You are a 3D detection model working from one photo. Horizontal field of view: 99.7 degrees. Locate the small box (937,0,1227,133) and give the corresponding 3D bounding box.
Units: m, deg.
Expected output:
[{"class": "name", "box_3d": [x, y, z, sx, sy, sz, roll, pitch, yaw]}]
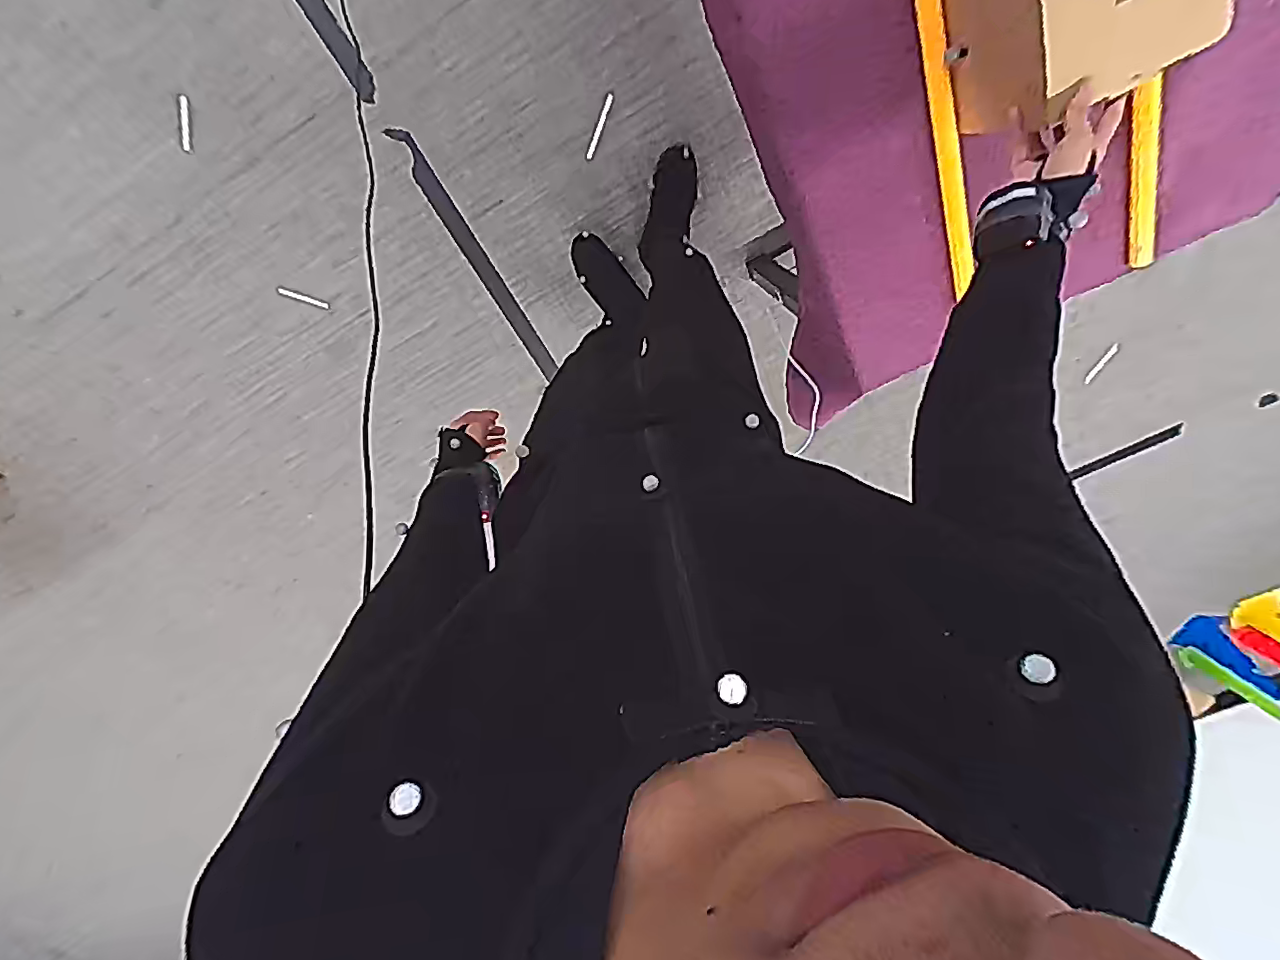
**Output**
[{"class": "small box", "box_3d": [0.430, -0.485, 0.545, 0.168, 0.176, 0.179, -25, 121, 10]}]
